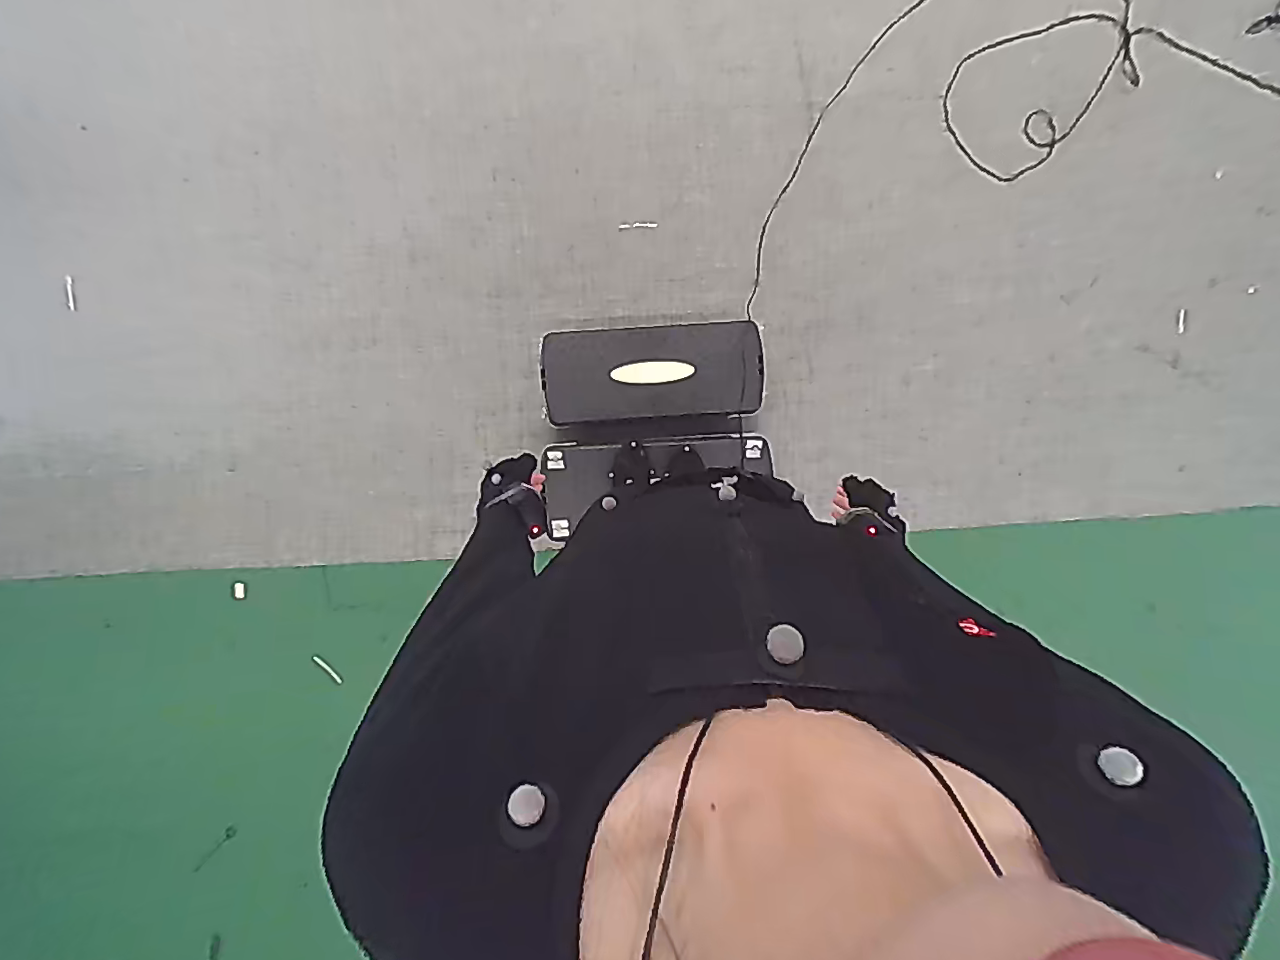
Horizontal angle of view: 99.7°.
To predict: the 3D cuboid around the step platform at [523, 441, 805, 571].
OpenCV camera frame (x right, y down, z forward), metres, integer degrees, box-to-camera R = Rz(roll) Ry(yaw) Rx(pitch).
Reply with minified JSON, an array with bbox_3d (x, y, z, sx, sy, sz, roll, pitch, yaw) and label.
[{"bbox_3d":[0.057,0.059,1.397,0.684,0.204,0.286,-3,93,-2],"label":"step platform"}]
